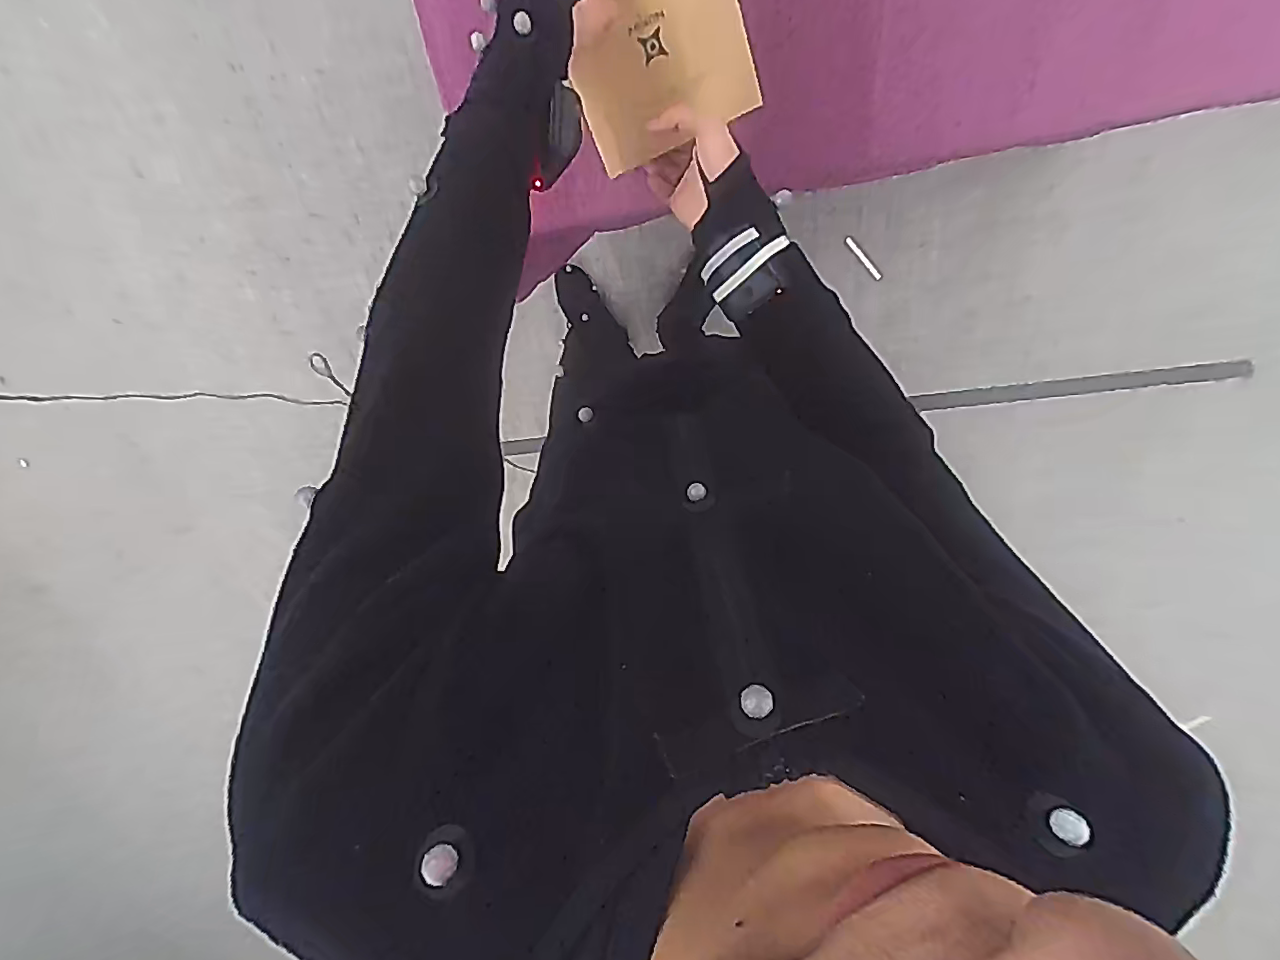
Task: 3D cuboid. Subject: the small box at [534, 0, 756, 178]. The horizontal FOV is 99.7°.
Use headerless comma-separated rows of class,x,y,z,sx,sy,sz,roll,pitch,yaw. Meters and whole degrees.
small box,0.008,-0.441,0.556,0.168,0.176,0.179,-17,122,15
